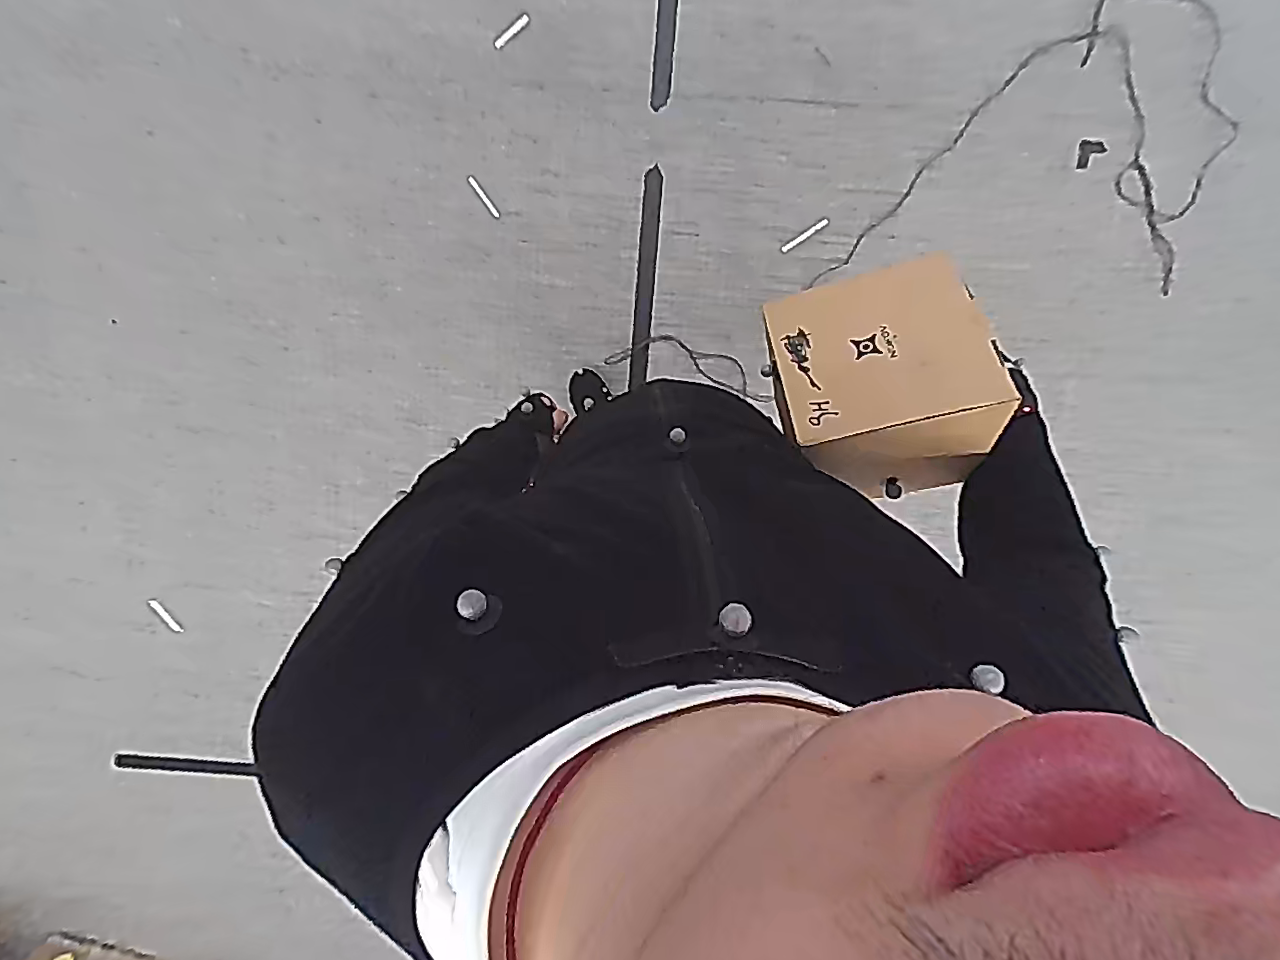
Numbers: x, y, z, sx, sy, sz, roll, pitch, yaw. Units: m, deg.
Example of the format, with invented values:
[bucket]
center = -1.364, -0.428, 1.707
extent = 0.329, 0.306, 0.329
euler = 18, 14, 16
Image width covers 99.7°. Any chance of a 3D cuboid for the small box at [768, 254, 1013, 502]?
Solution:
[small box]
center = 0.240, -0.093, 0.564
extent = 0.179, 0.176, 0.168
euler = -12, 63, 13
